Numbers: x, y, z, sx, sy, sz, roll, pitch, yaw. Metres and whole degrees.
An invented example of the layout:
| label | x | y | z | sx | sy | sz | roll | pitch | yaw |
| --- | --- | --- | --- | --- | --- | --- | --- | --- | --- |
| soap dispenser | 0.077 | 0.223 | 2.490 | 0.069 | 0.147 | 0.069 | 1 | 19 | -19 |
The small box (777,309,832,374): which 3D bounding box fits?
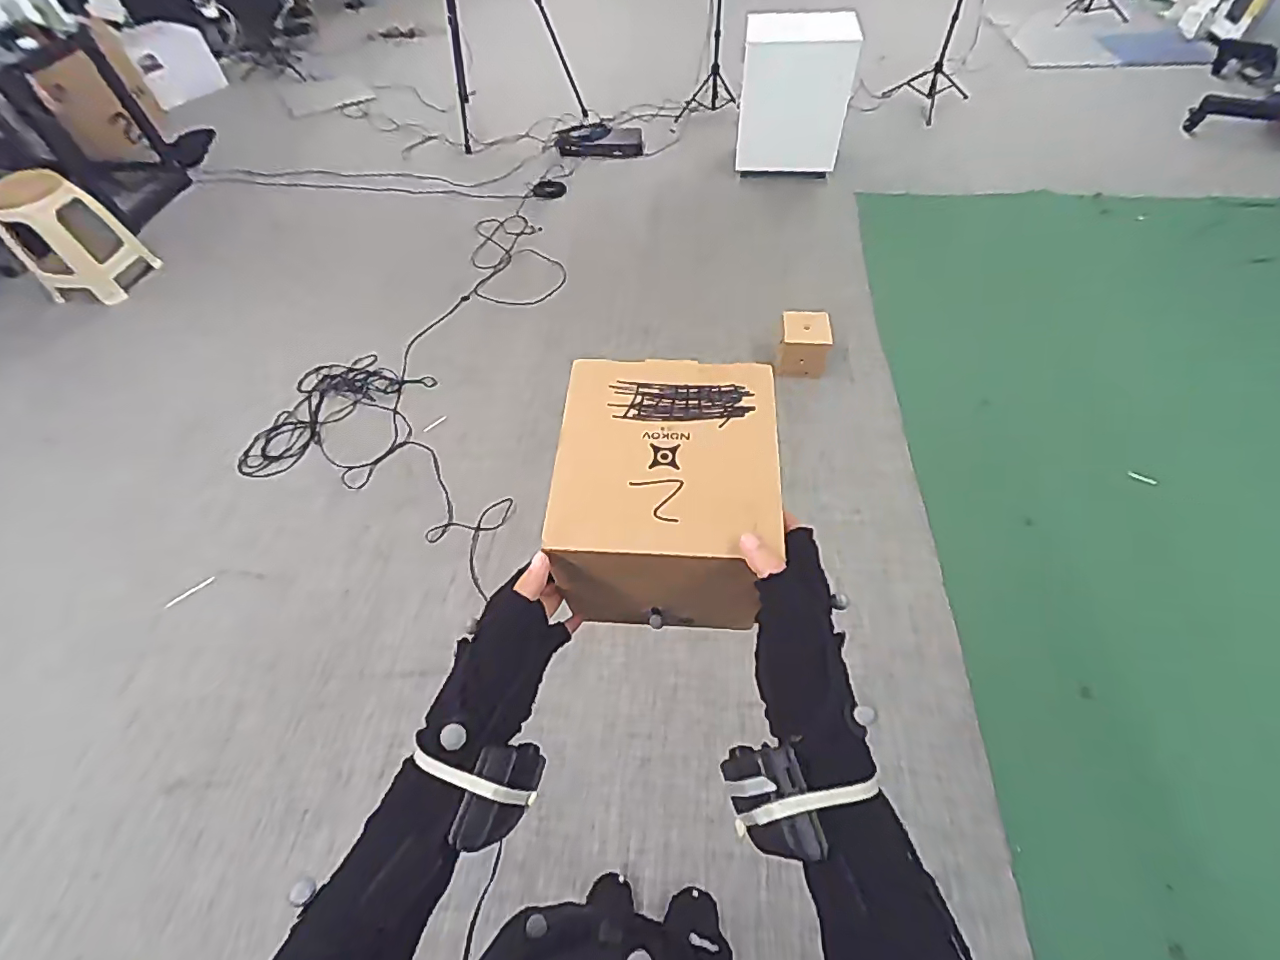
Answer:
| label | x | y | z | sx | sy | sz | roll | pitch | yaw |
| --- | --- | --- | --- | --- | --- | --- | --- | --- | --- |
| small box | 0.607 | -0.511 | 2.012 | 0.168 | 0.176 | 0.179 | 4 | 55 | 5 |
